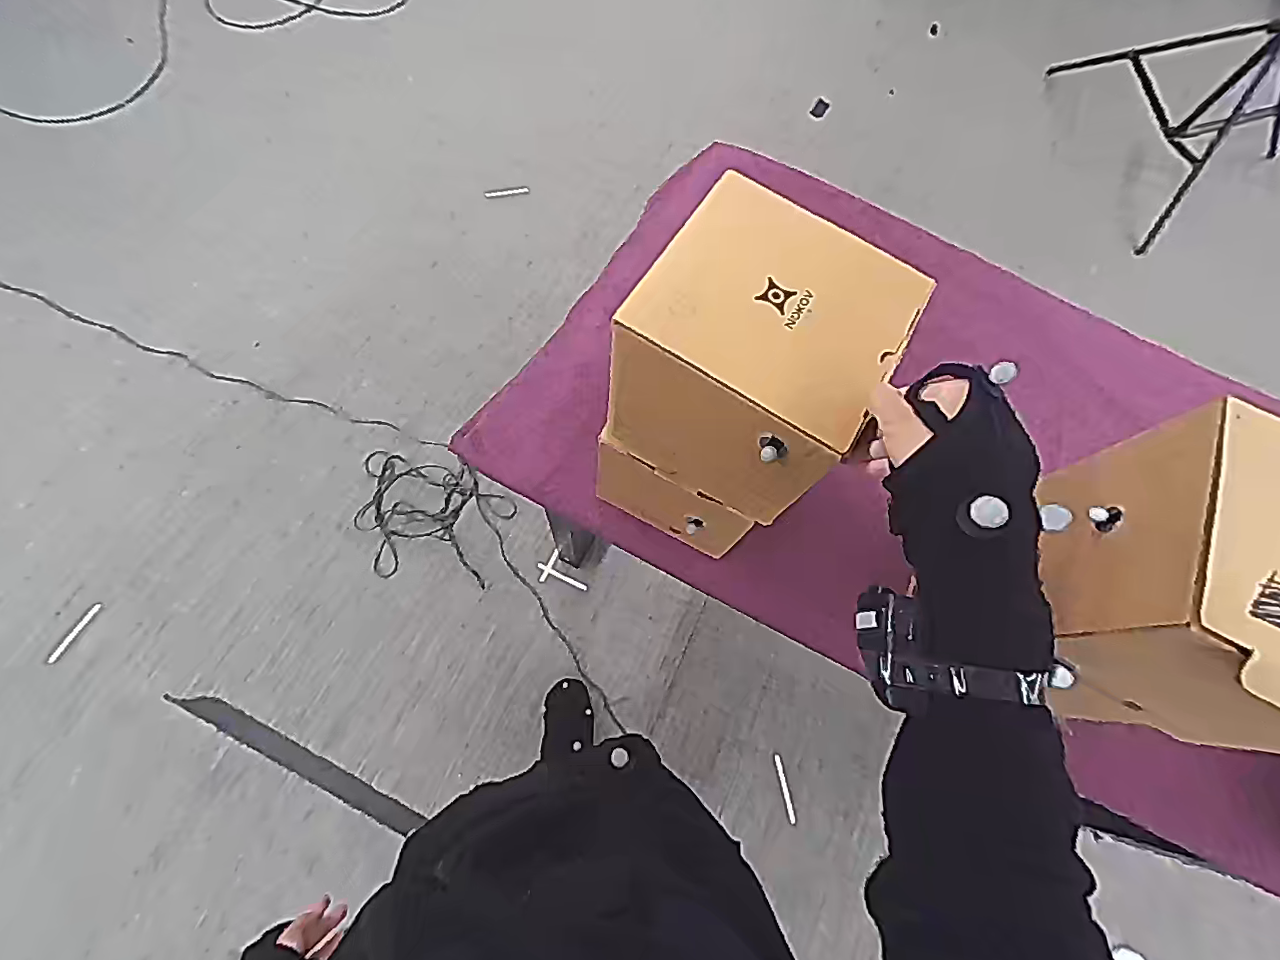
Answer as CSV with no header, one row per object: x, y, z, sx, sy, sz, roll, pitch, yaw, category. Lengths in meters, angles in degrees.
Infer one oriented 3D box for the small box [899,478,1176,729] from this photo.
0.411,0.127,0.558,0.179,0.176,0.168,28,71,5,small box

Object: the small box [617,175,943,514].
0.094,-0.094,0.441,0.179,0.176,0.168,31,70,5,small box

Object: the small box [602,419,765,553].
0.070,-0.040,0.592,0.168,0.176,0.179,27,69,4,small box

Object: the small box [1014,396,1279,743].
0.423,0.078,0.401,0.168,0.176,0.179,28,70,6,small box
